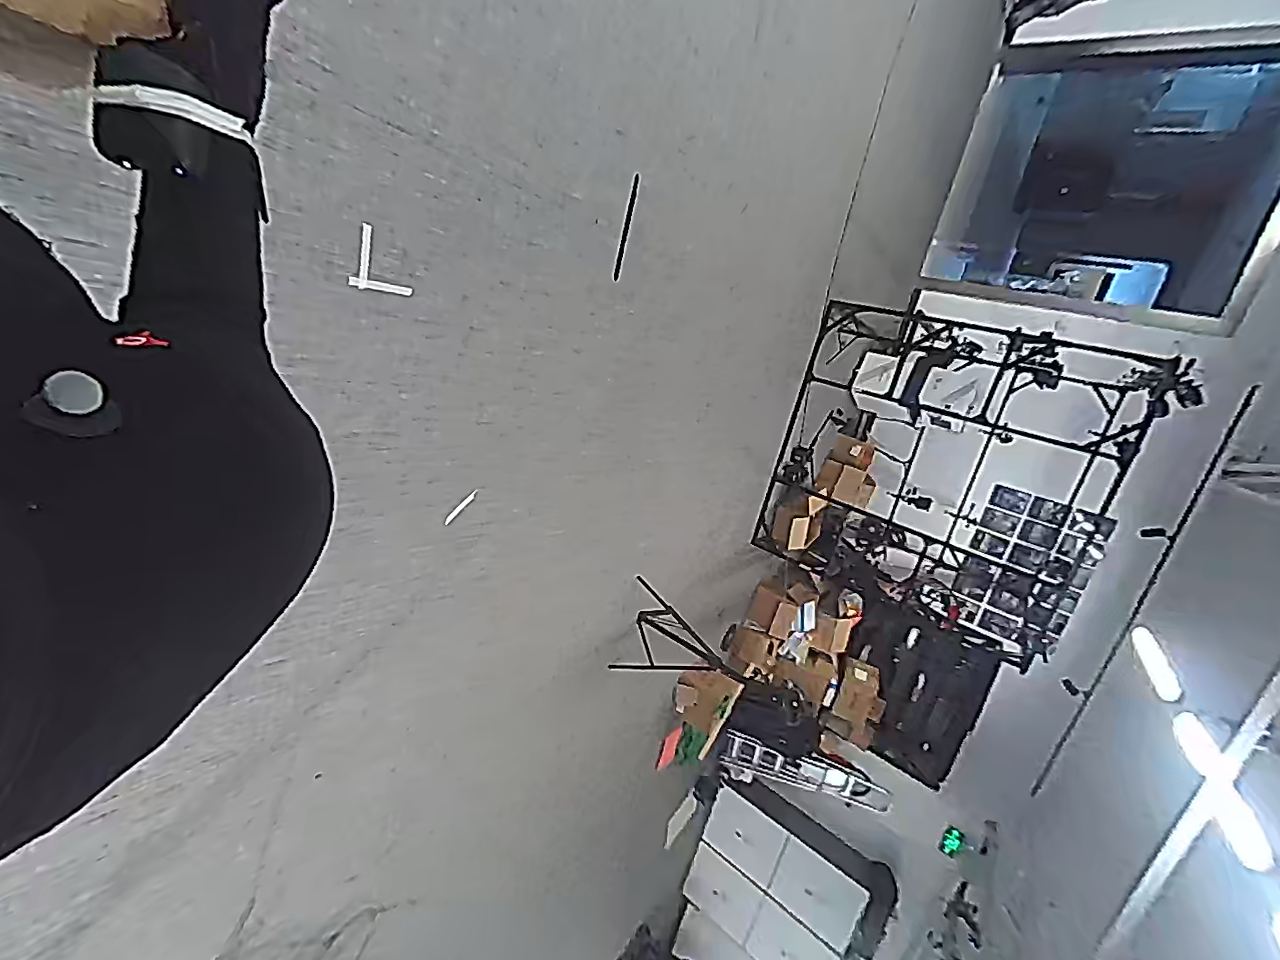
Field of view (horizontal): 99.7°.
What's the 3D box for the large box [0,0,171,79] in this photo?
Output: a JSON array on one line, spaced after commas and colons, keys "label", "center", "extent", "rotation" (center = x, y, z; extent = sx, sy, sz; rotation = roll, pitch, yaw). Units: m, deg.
[{"label": "large box", "center": [-0.514, -0.453, 0.239], "extent": [0.408, 0.320, 0.320], "rotation": [-7, 117, -57]}]
